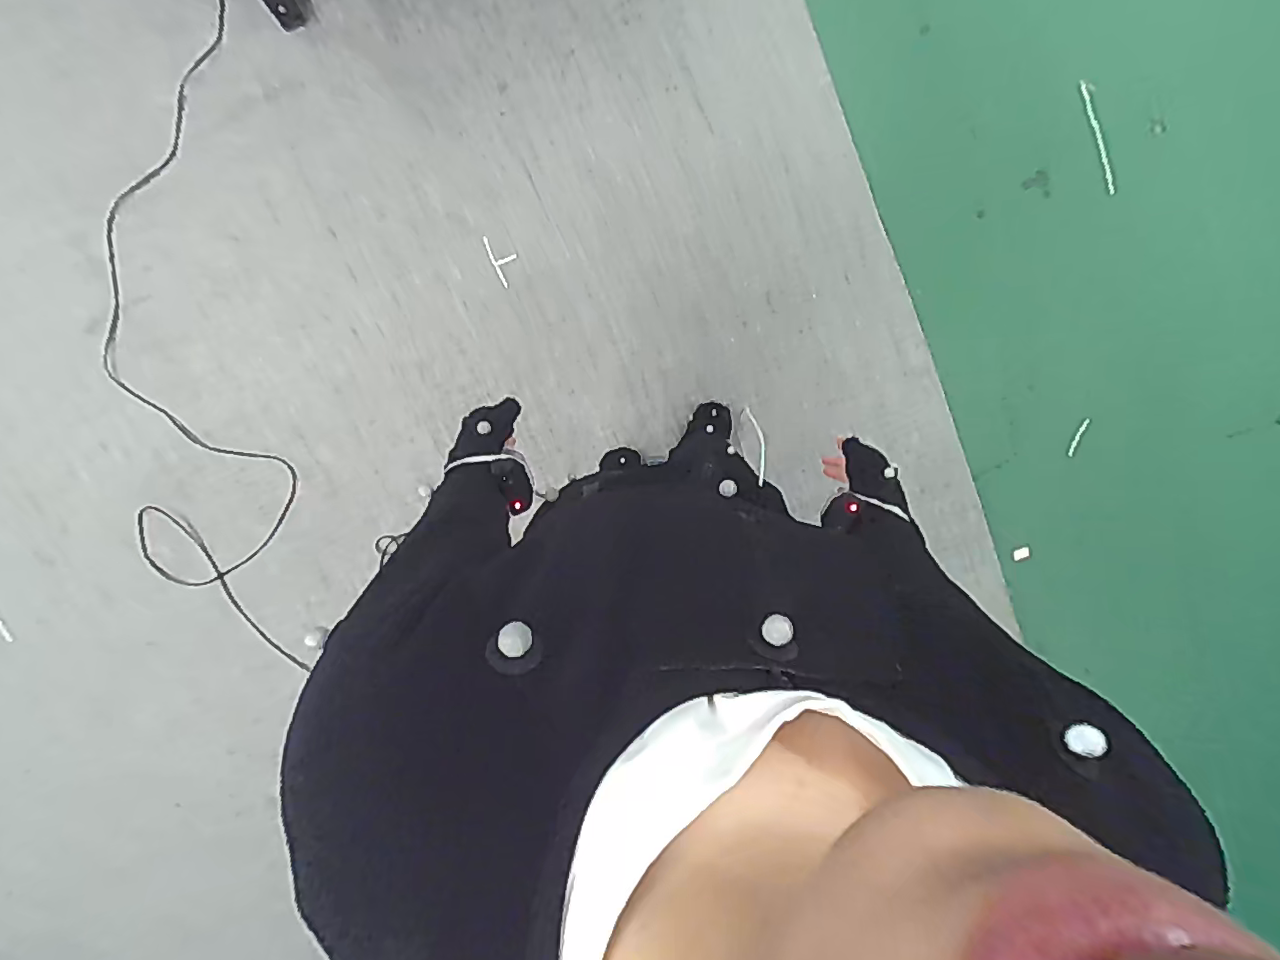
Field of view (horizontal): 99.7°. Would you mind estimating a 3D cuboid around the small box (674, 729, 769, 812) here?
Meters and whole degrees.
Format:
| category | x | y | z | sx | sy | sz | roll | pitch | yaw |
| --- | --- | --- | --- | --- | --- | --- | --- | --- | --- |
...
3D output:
| category | x | y | z | sx | sy | sz | roll | pitch | yaw |
| --- | --- | --- | --- | --- | --- | --- | --- | --- | --- |
| small box | 0.208 | 0.797 | 1.441 | 0.168 | 0.176 | 0.179 | -30 | 98 | -4 |
